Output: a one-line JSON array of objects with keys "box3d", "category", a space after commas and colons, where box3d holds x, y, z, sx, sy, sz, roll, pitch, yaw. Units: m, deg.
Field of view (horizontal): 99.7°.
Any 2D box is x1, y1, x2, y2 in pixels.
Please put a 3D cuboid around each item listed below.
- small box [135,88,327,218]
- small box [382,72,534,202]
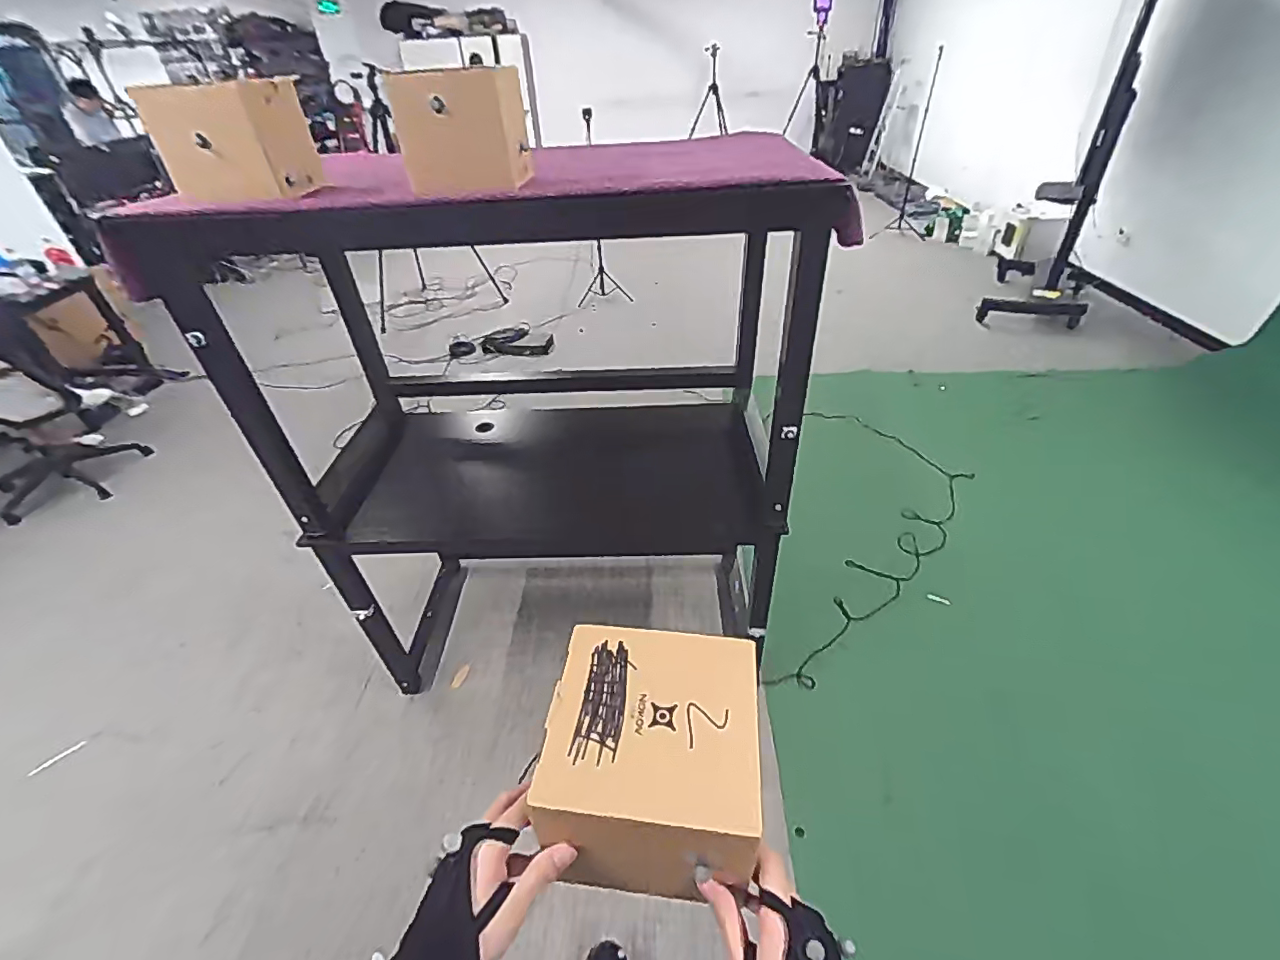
[{"box3d": [-0.686, -0.568, 0.939, 0.179, 0.176, 0.168, -3, 38, 2], "category": "small box"}, {"box3d": [-0.295, -0.583, 0.919, 0.179, 0.176, 0.168, -1, 38, 4], "category": "small box"}]
